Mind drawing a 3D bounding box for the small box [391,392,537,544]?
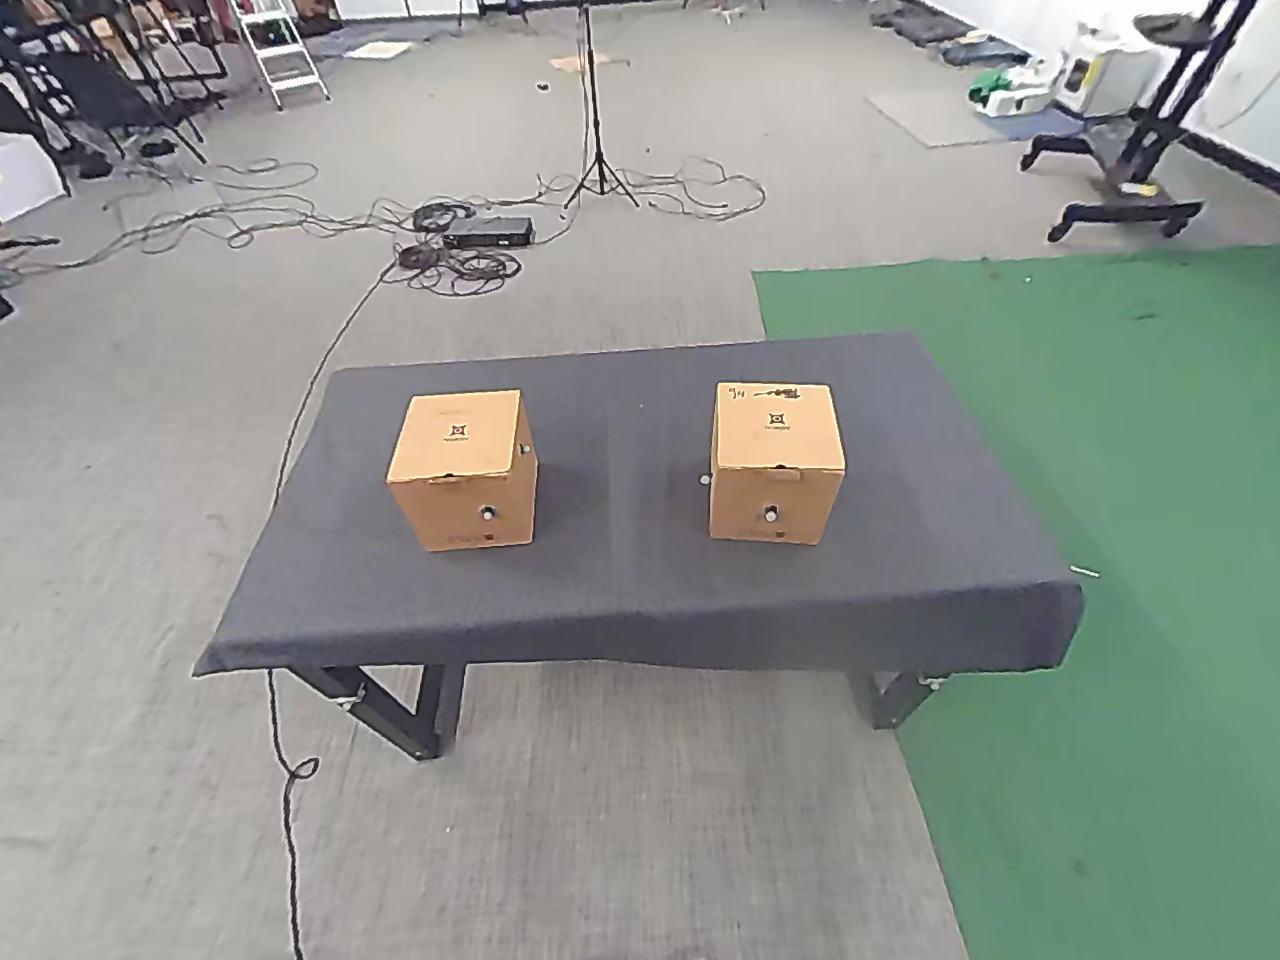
[{"bbox_3d":[-0.258,-0.013,0.841,0.168,0.176,0.179,-5,48,-2],"label":"small box"}]

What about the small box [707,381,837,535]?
[{"bbox_3d":[0.190,-0.031,0.823,0.168,0.176,0.179,2,51,6],"label":"small box"}]
